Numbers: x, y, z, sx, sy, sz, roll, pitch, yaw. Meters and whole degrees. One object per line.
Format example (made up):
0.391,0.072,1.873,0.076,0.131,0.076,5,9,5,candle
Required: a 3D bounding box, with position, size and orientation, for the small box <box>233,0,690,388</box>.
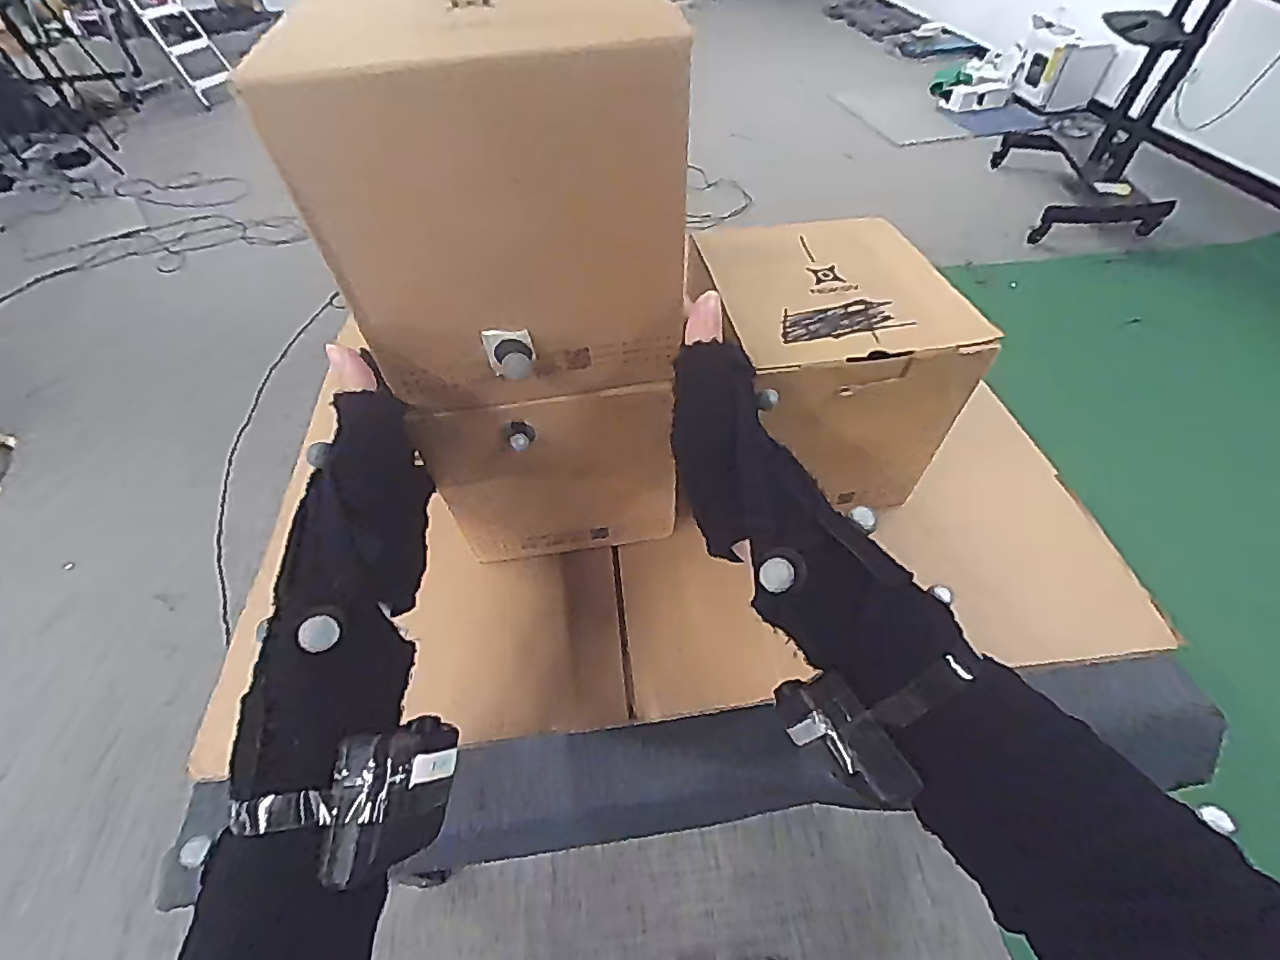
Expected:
-0.074,-0.178,0.307,0.168,0.176,0.179,-10,53,-5,small box
